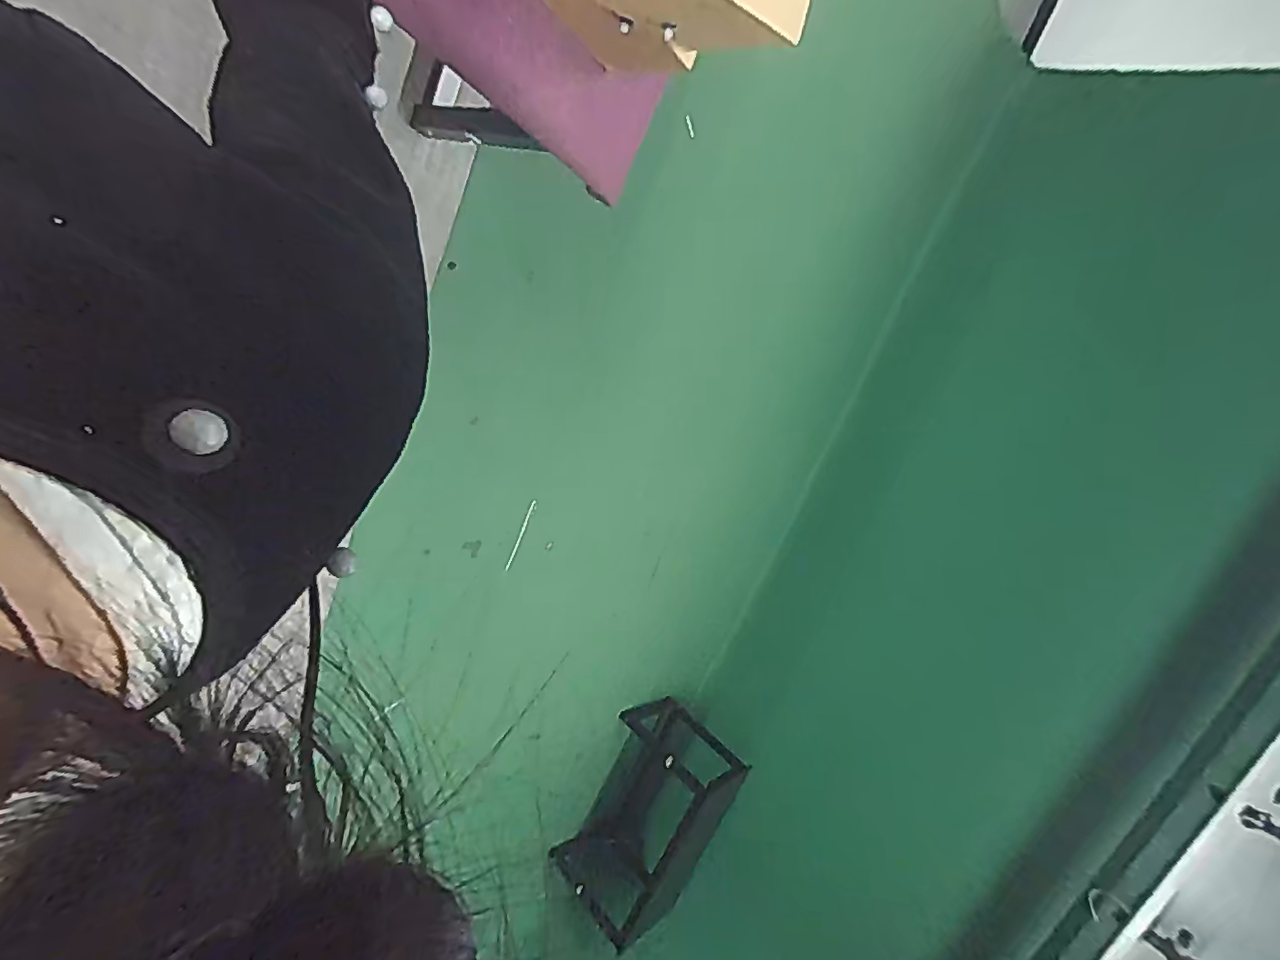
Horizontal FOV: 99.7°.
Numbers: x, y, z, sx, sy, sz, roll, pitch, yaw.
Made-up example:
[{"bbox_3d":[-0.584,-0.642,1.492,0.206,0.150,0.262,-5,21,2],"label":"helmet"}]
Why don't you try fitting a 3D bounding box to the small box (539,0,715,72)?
[{"bbox_3d":[-0.016,-0.656,0.687,0.179,0.176,0.168,13,104,-53],"label":"small box"}]
